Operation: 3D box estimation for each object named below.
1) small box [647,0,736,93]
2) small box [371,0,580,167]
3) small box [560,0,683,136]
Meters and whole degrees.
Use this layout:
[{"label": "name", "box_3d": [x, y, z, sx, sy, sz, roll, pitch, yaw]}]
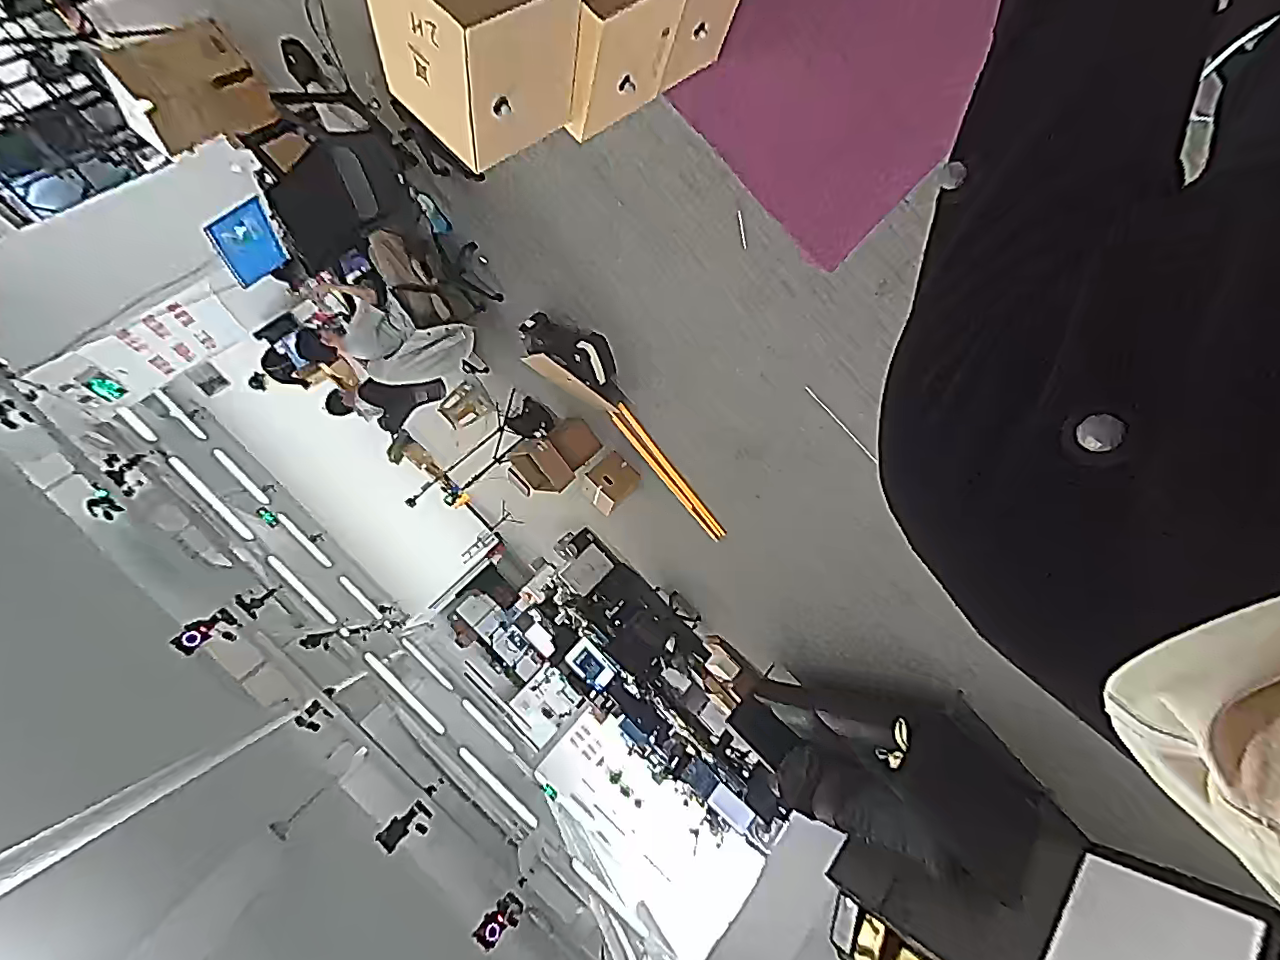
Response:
[{"label": "small box", "box_3d": [0.036, -0.722, 0.777, 0.168, 0.176, 0.179, 45, 159, 1]}, {"label": "small box", "box_3d": [-0.189, -0.528, 0.640, 0.168, 0.176, 0.179, 44, 158, 3]}, {"label": "small box", "box_3d": [-0.066, -0.614, 0.712, 0.179, 0.176, 0.168, 46, 158, 1]}]
